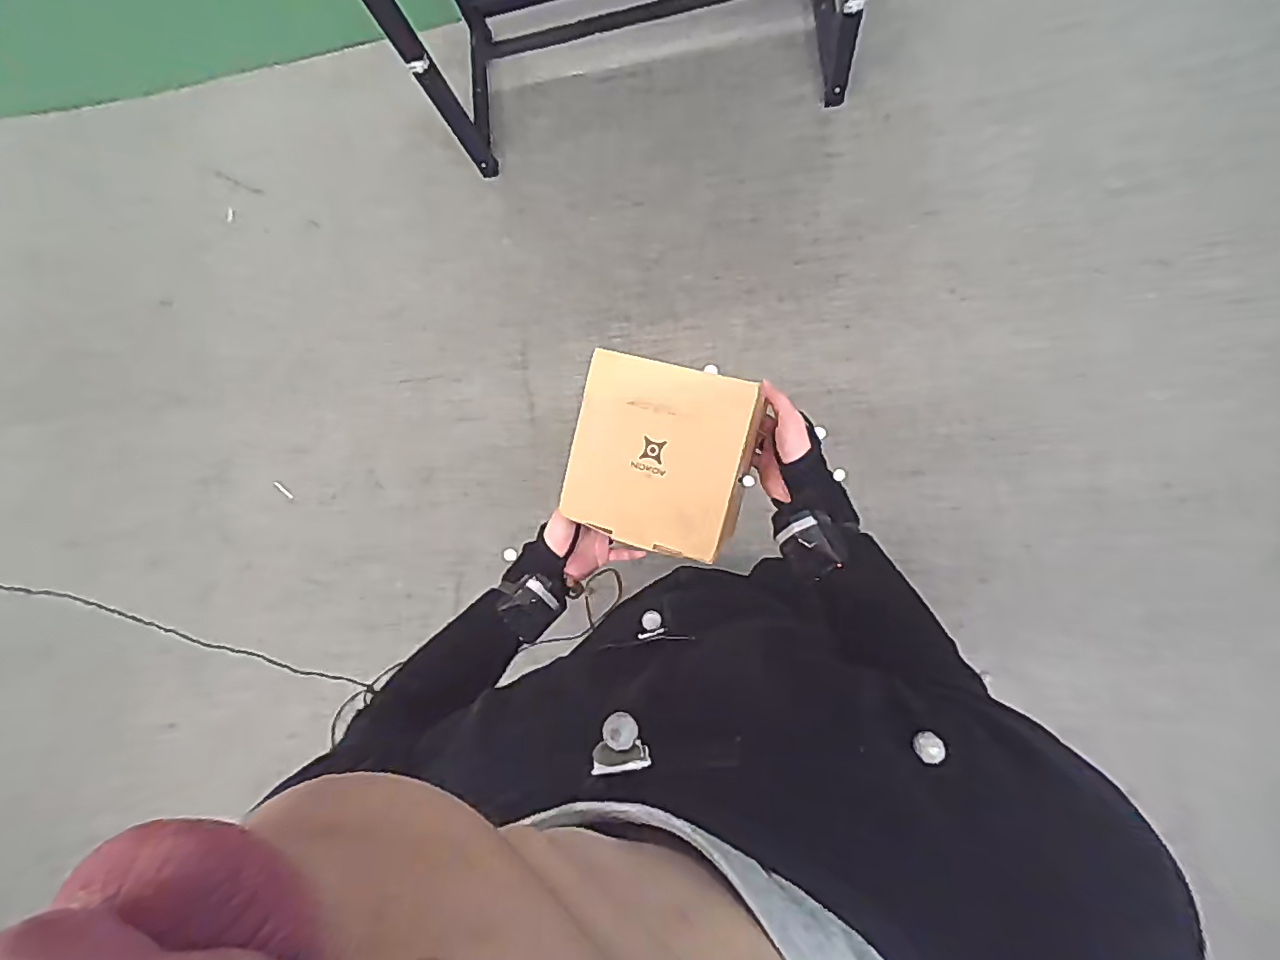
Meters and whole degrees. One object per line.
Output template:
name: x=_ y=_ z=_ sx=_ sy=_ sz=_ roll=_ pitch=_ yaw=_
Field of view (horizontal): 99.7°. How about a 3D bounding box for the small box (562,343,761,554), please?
small box: x=0.034 y=-0.037 z=0.601 sx=0.168 sy=0.176 sz=0.179 roll=15 pitch=97 yaw=13
